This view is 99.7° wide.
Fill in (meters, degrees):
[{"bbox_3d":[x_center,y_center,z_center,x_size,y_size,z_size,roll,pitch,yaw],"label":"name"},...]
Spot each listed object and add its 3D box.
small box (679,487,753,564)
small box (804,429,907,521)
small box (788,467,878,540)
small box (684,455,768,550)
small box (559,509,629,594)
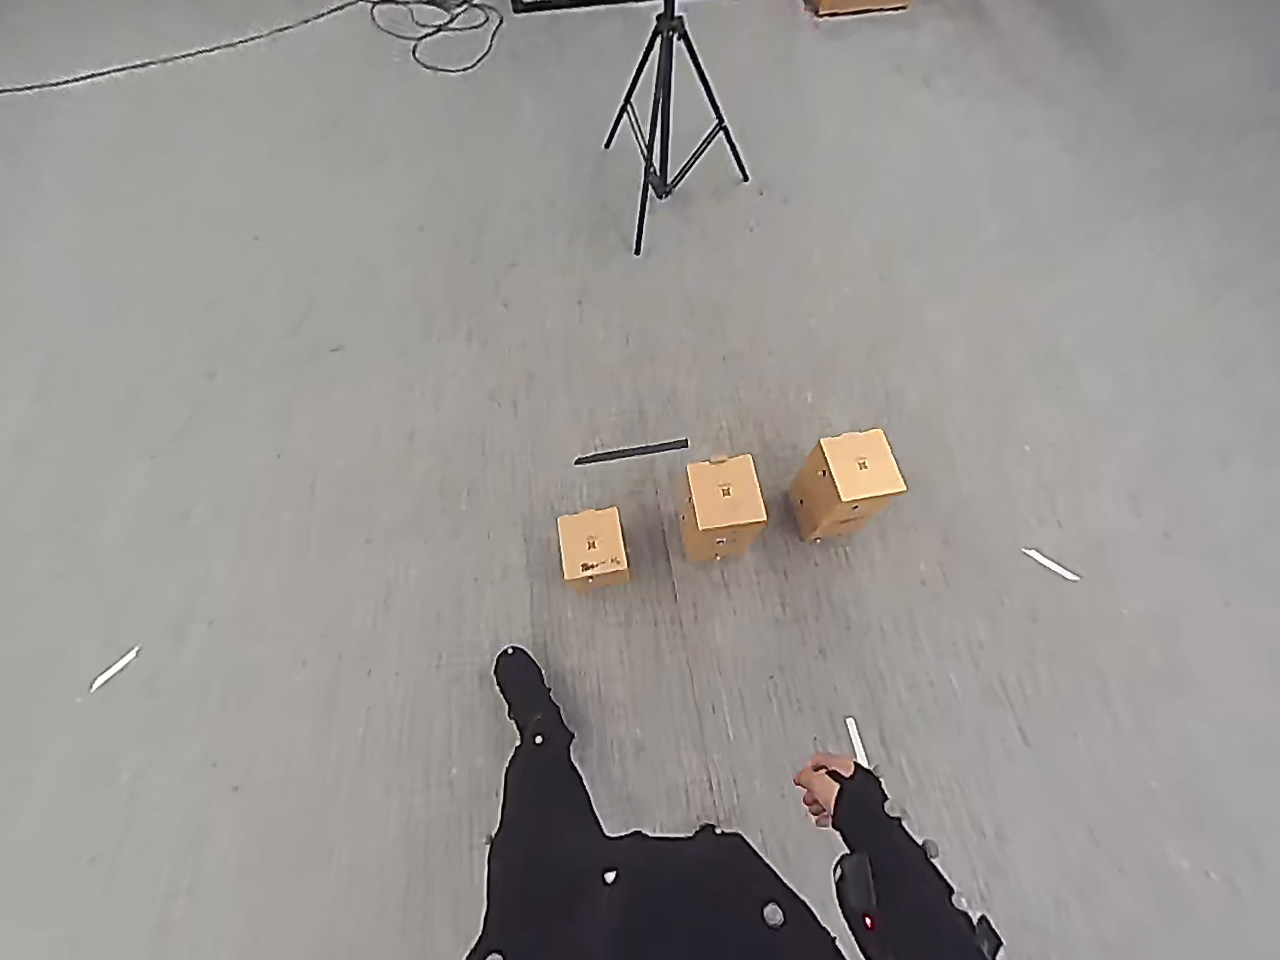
[{"bbox_3d":[0.204,0.120,1.506,0.168,0.176,0.179,-8,67,-3],"label":"small box"},{"bbox_3d":[0.542,-0.004,1.383,0.168,0.176,0.179,-10,66,-5],"label":"small box"},{"bbox_3d":[0.539,0.062,1.532,0.168,0.176,0.179,-11,66,-5],"label":"small box"},{"bbox_3d":[0.206,0.060,1.353,0.168,0.176,0.179,-8,67,-3],"label":"small box"},{"bbox_3d":[-0.123,0.198,1.475,0.168,0.176,0.179,-9,66,-3],"label":"small box"}]
